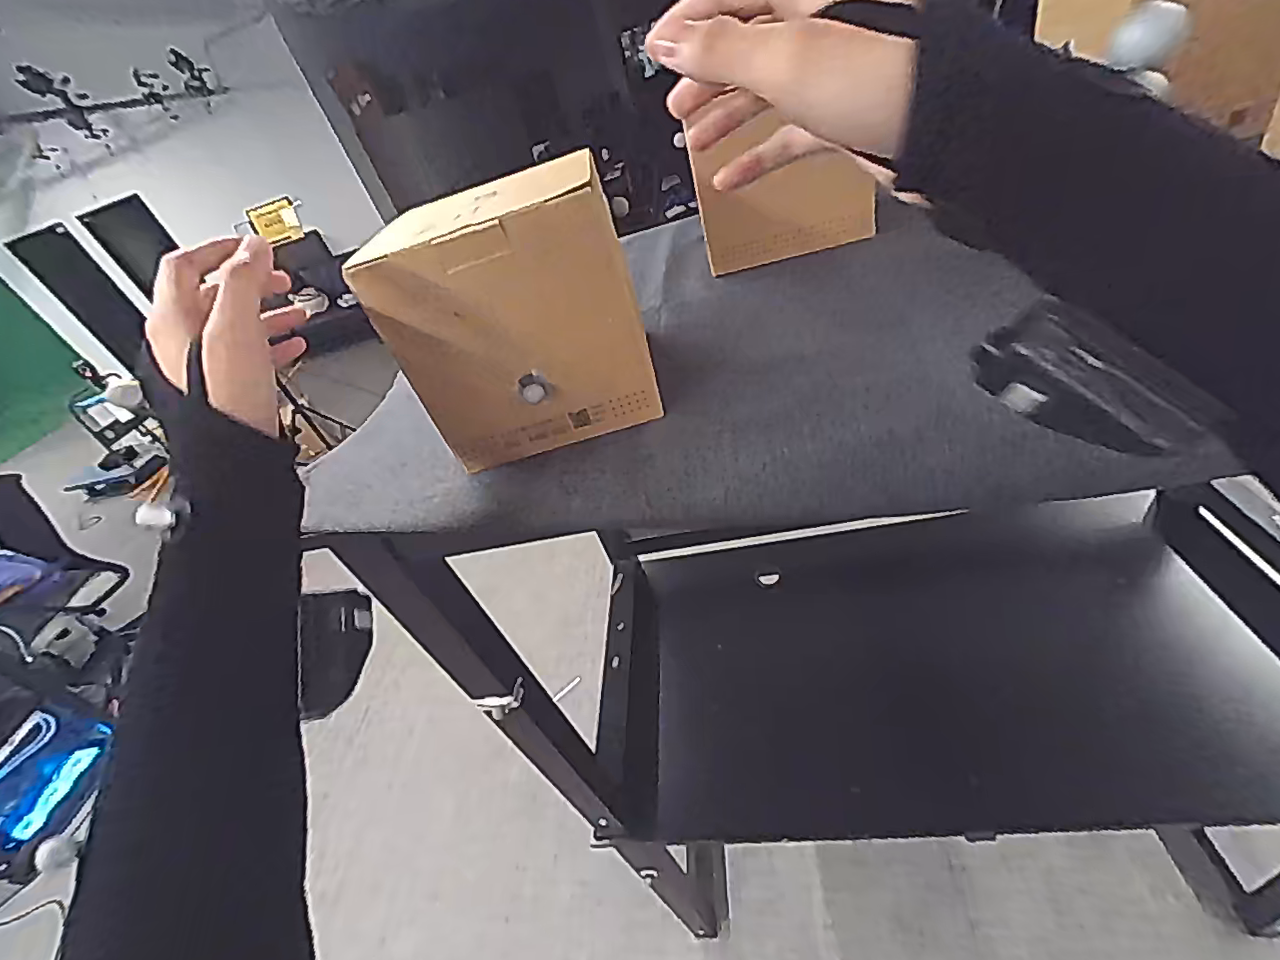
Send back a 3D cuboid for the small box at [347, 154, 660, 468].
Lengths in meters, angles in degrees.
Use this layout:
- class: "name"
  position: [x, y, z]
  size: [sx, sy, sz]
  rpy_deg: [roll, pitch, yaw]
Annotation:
- class: "small box"
  position: [-0.089, -0.138, 0.440]
  size: [0.168, 0.176, 0.179]
  rpy_deg: [-16, 37, 7]
